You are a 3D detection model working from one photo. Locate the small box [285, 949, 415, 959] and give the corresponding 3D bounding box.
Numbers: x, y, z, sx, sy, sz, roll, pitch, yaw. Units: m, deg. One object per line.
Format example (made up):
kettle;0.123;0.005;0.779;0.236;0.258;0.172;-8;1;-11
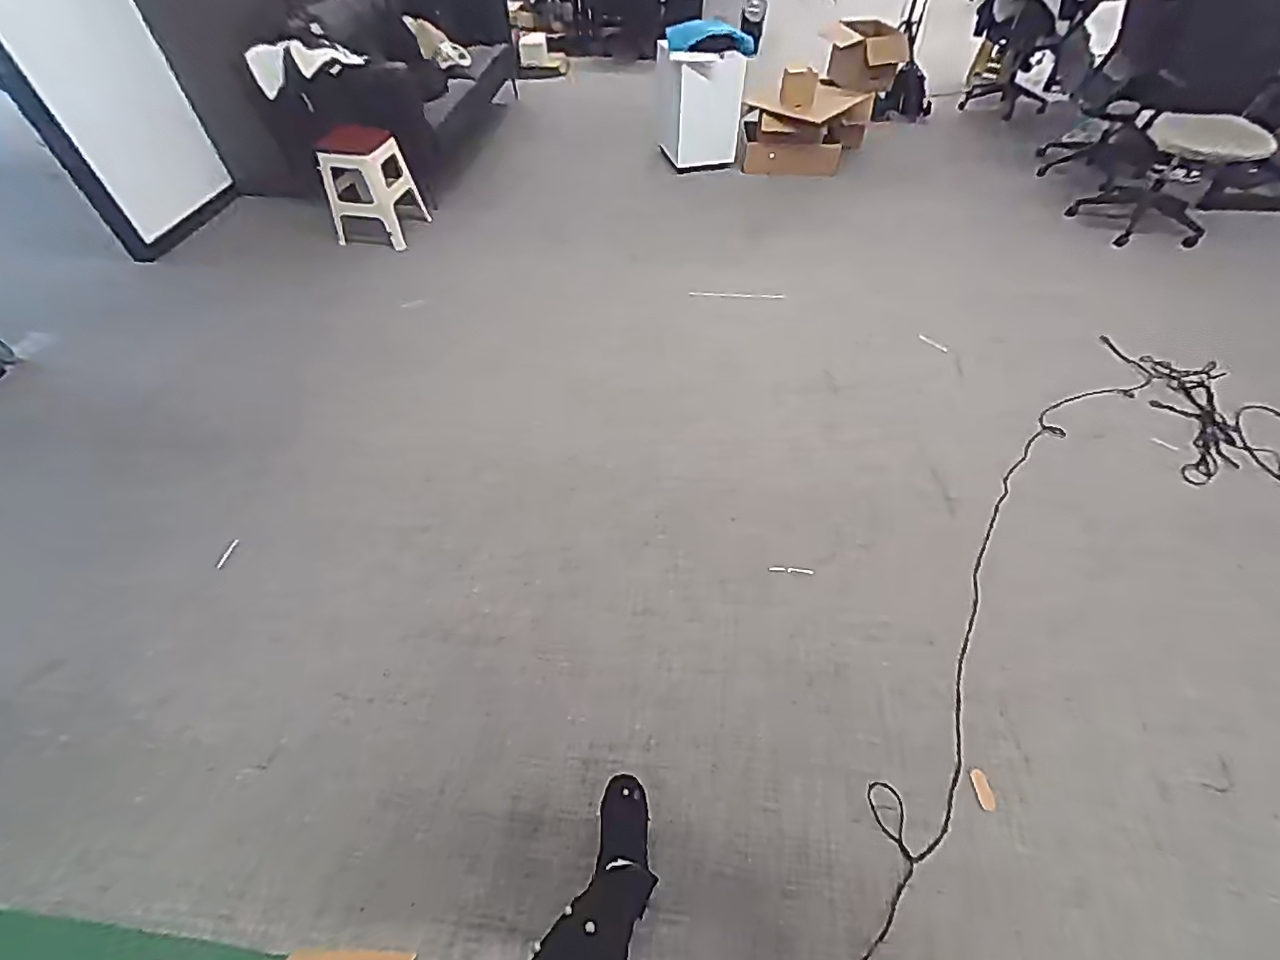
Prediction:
small box;-0.381;0.685;0.615;0.168;0.179;0.176;1;76;1
